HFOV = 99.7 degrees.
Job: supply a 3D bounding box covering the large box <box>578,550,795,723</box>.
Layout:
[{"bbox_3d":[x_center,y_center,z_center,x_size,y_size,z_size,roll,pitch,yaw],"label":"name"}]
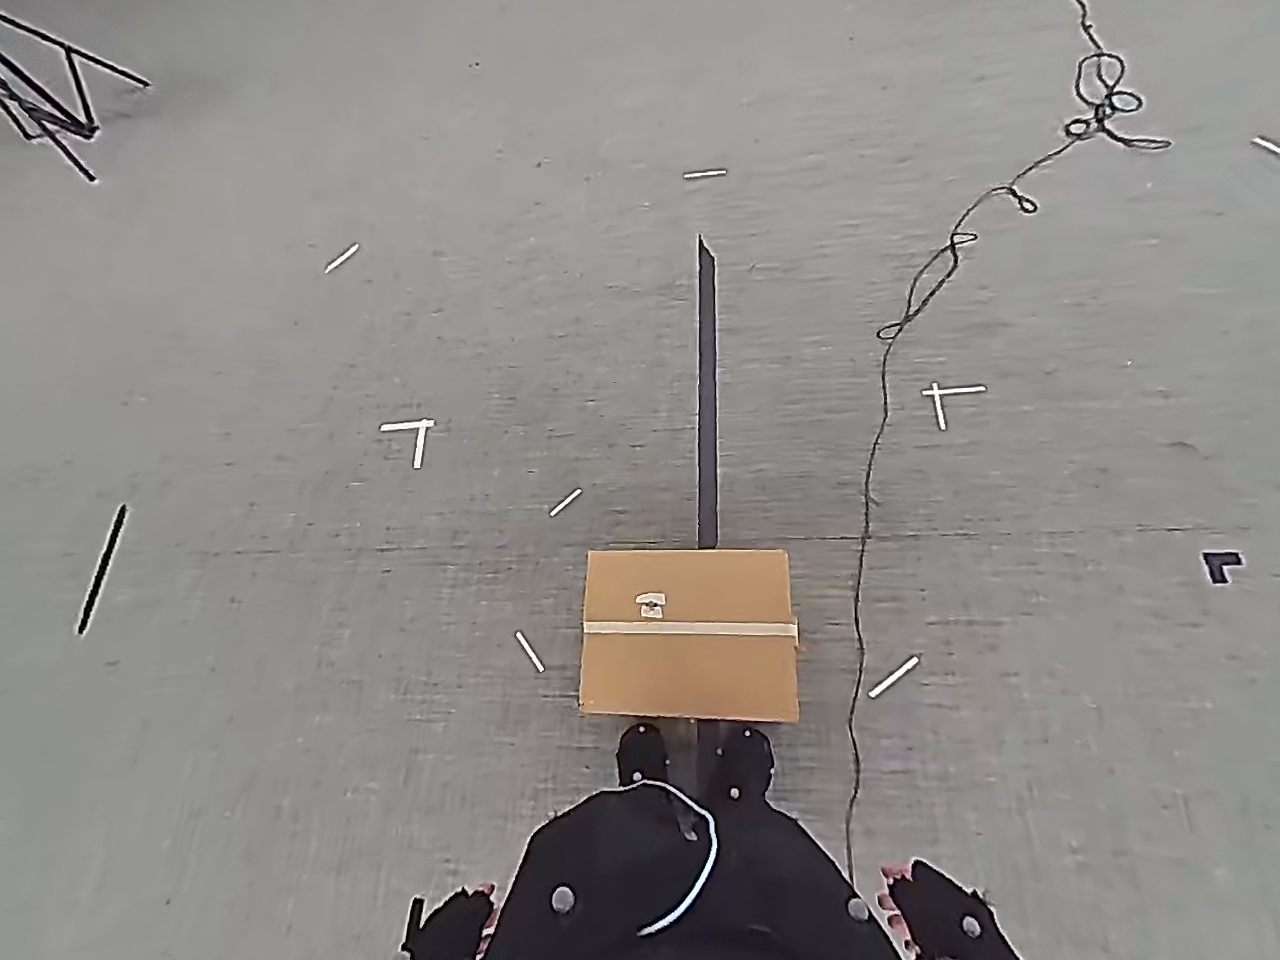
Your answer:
[{"bbox_3d":[0.110,0.342,1.172,0.408,0.320,0.320,-2,68,11],"label":"large box"}]
